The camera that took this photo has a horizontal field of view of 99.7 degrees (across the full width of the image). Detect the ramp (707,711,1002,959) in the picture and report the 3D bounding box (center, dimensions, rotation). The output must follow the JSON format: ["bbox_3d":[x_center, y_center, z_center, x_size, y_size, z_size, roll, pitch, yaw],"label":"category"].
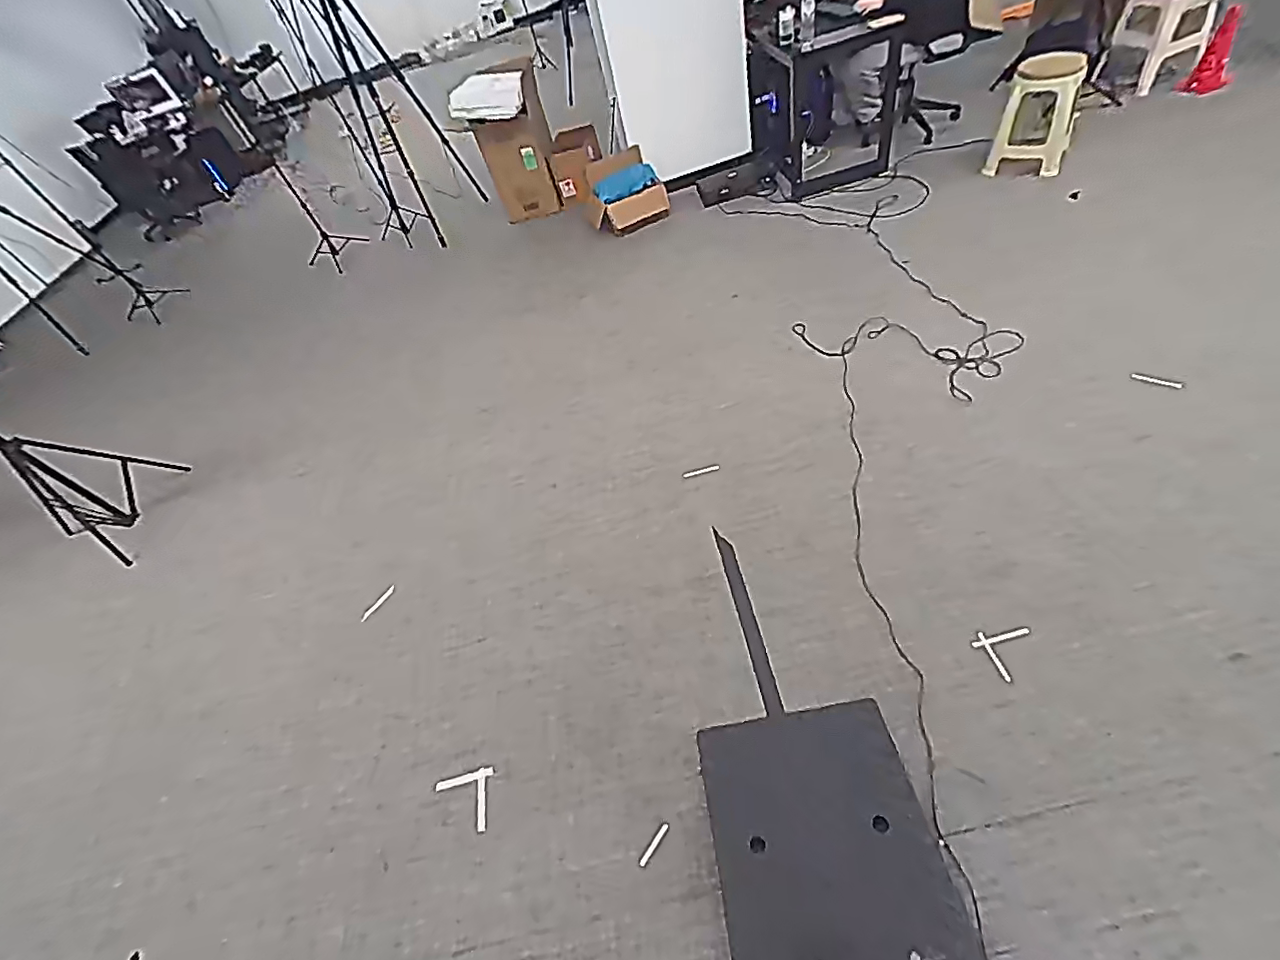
[{"bbox_3d":[0.457,0.978,1.071,0.509,0.206,0.991,-17,46,5],"label":"ramp"}]
